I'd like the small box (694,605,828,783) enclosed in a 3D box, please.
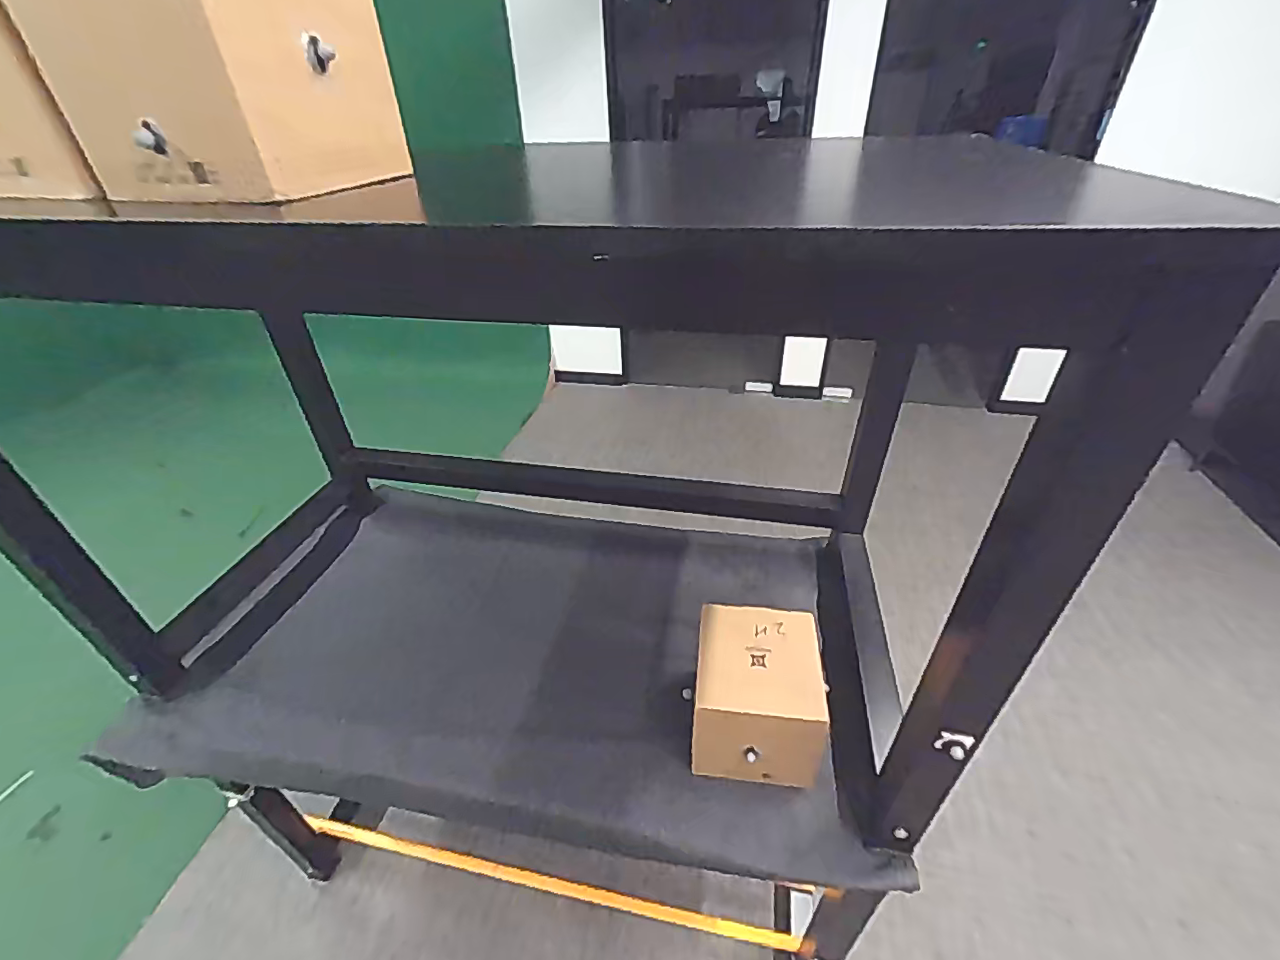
[{"bbox_3d":[0.167,0.309,0.785,0.168,0.176,0.179,4,35,7],"label":"small box"}]

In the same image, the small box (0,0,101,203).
[{"bbox_3d":[-0.682,-0.363,0.512,0.168,0.176,0.179,5,37,9],"label":"small box"}]
